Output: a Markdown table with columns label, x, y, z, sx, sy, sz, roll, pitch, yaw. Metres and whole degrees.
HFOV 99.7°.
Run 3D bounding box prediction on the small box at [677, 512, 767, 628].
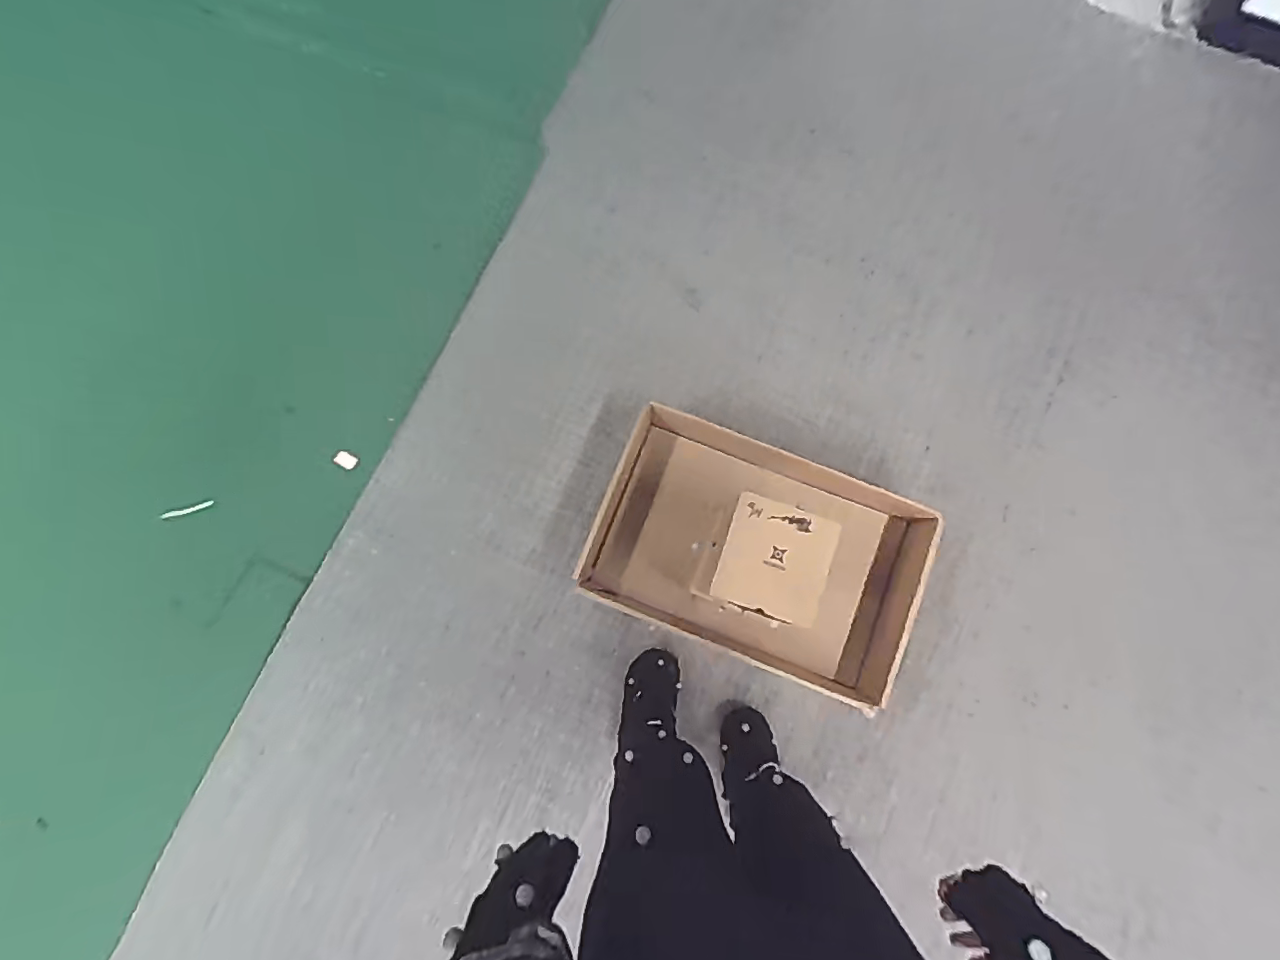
| label | x | y | z | sx | sy | sz | roll | pitch | yaw |
| --- | --- | --- | --- | --- | --- | --- | --- | --- | --- |
| small box | 0.187 | 0.179 | 1.093 | 0.179 | 0.176 | 0.168 | 24 | 81 | 5 |

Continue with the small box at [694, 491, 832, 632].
| label | x | y | z | sx | sy | sz | roll | pitch | yaw |
| --- | --- | --- | --- | --- | --- | --- | --- | --- | --- |
| small box | 0.197 | 0.136 | 0.919 | 0.168 | 0.176 | 0.179 | 21 | 82 | 3 |
